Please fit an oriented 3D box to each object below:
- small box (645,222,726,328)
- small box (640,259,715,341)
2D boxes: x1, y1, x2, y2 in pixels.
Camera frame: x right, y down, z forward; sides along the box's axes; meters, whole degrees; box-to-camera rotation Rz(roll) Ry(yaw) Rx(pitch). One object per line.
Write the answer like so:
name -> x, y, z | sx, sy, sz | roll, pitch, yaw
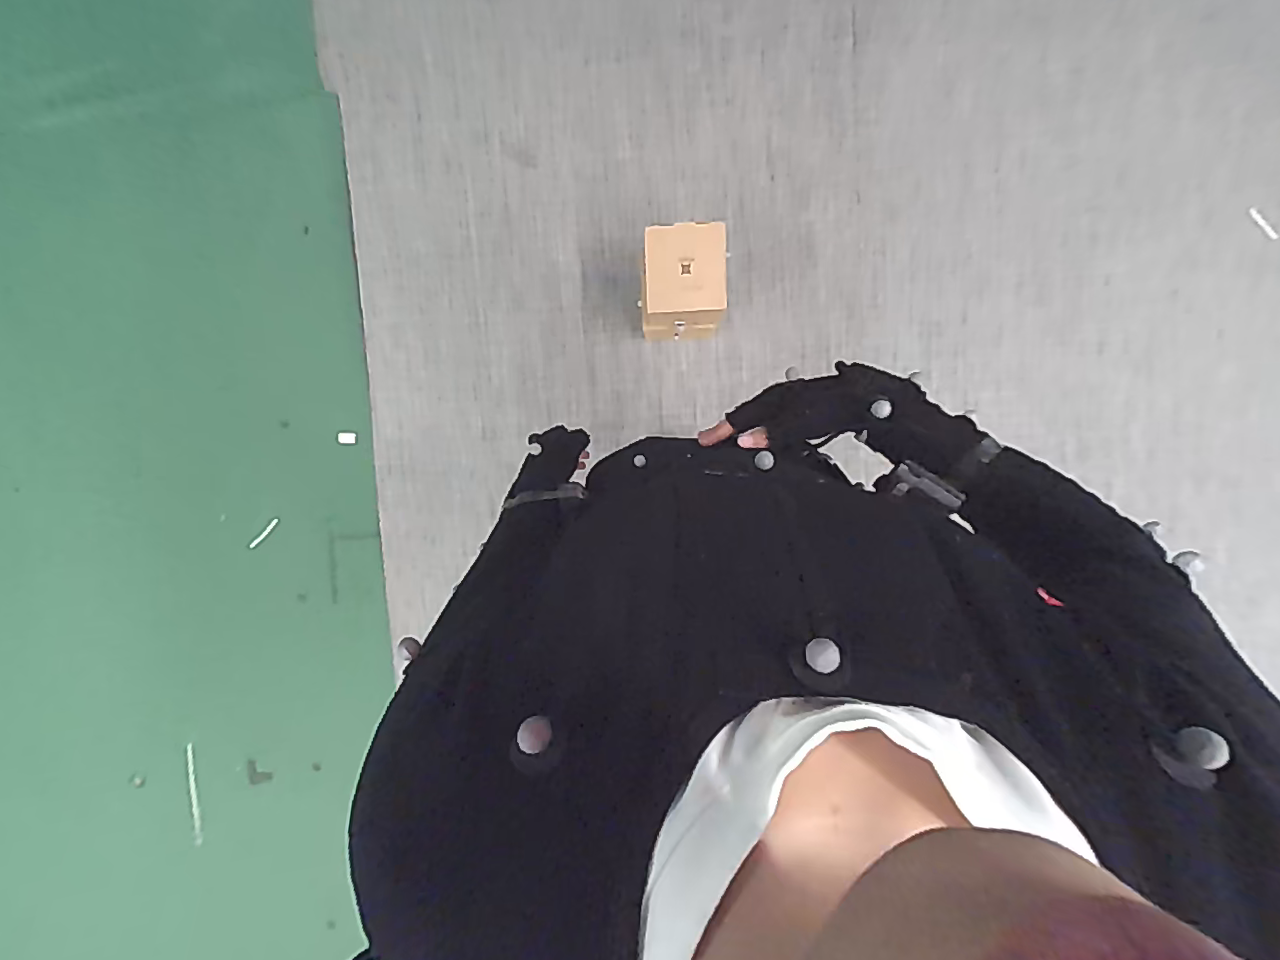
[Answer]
small box -> 0.098, -0.441, 1.187 | 0.168, 0.176, 0.179 | -2, 95, 5
small box -> 0.093, -0.445, 1.348 | 0.179, 0.176, 0.168 | -1, 94, 5
